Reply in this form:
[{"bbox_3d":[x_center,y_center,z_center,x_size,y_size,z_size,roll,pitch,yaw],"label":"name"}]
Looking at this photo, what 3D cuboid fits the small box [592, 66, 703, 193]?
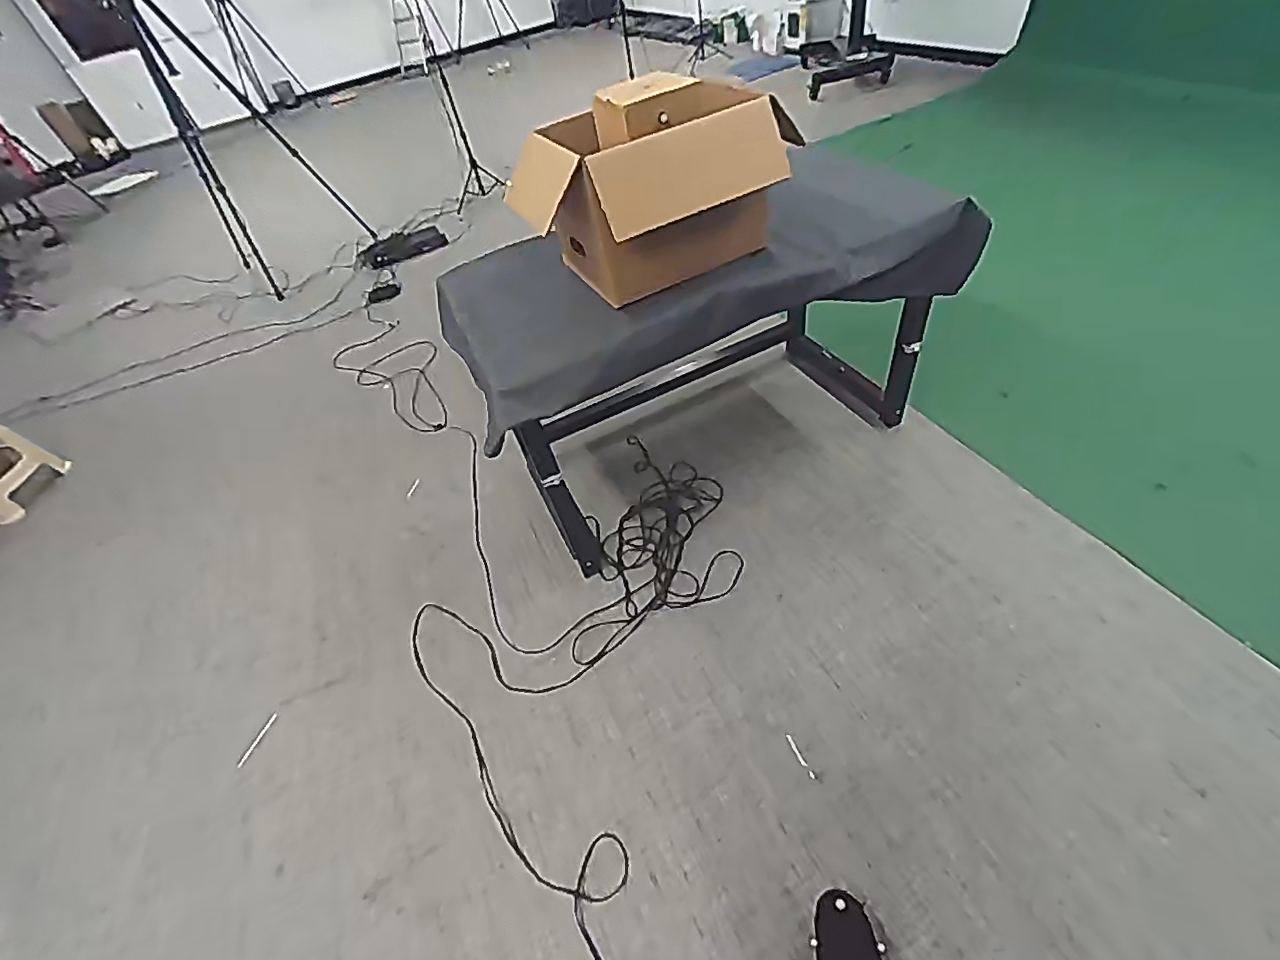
[{"bbox_3d":[0.021,-0.735,1.135,0.179,0.176,0.168,-26,48,-11],"label":"small box"}]
